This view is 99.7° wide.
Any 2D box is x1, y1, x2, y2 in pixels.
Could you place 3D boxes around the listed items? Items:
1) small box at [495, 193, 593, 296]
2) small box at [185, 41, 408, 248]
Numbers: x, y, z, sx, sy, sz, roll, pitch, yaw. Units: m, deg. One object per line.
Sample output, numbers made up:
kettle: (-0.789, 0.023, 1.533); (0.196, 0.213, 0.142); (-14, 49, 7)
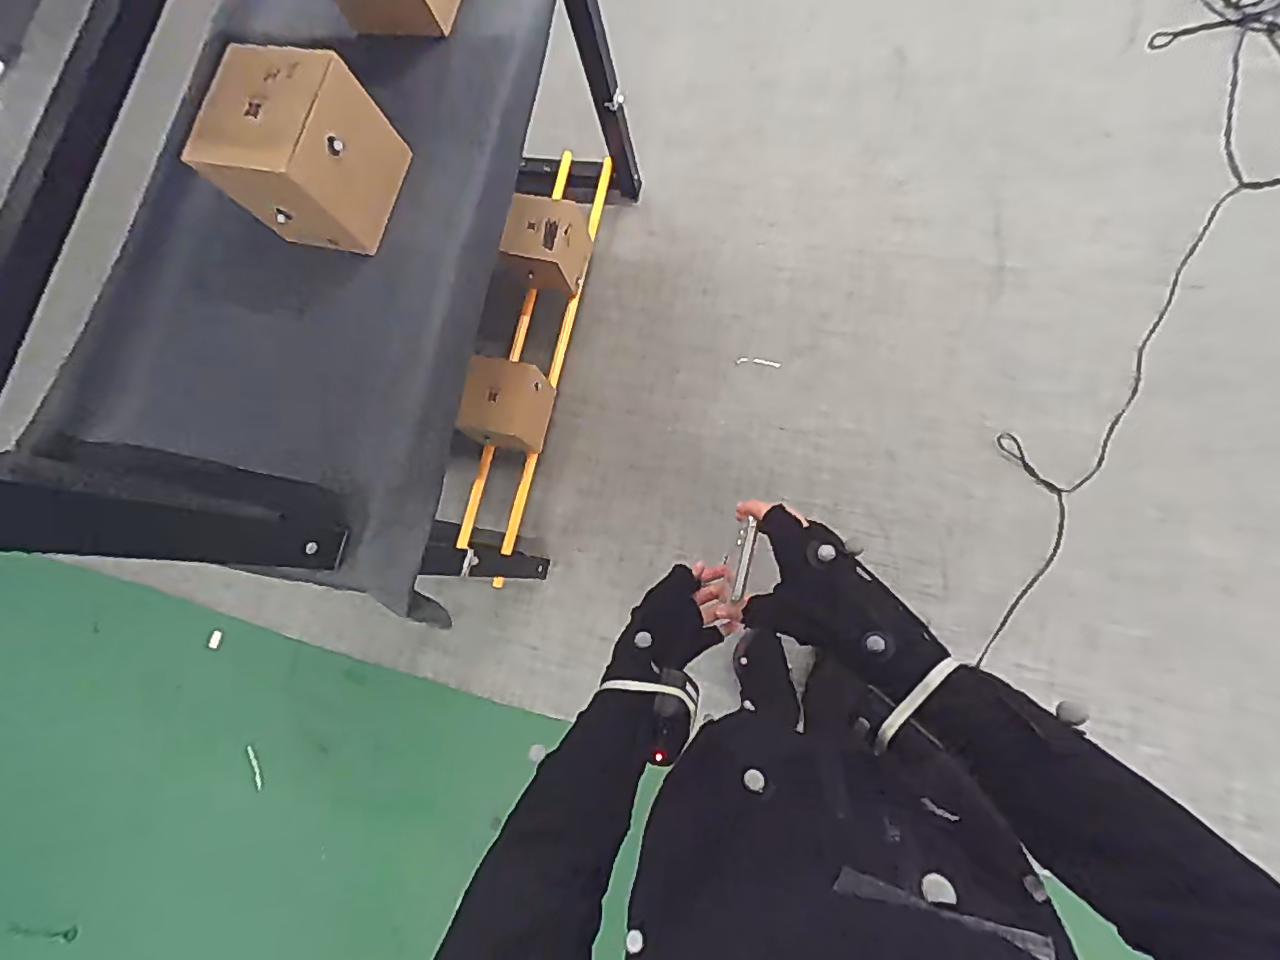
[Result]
small box: (-0.236, -0.592, 1.378); (0.179, 0.176, 0.168); (14, 81, 13)
small box: (-0.453, -0.448, 0.742); (0.168, 0.176, 0.179); (14, 82, 13)
